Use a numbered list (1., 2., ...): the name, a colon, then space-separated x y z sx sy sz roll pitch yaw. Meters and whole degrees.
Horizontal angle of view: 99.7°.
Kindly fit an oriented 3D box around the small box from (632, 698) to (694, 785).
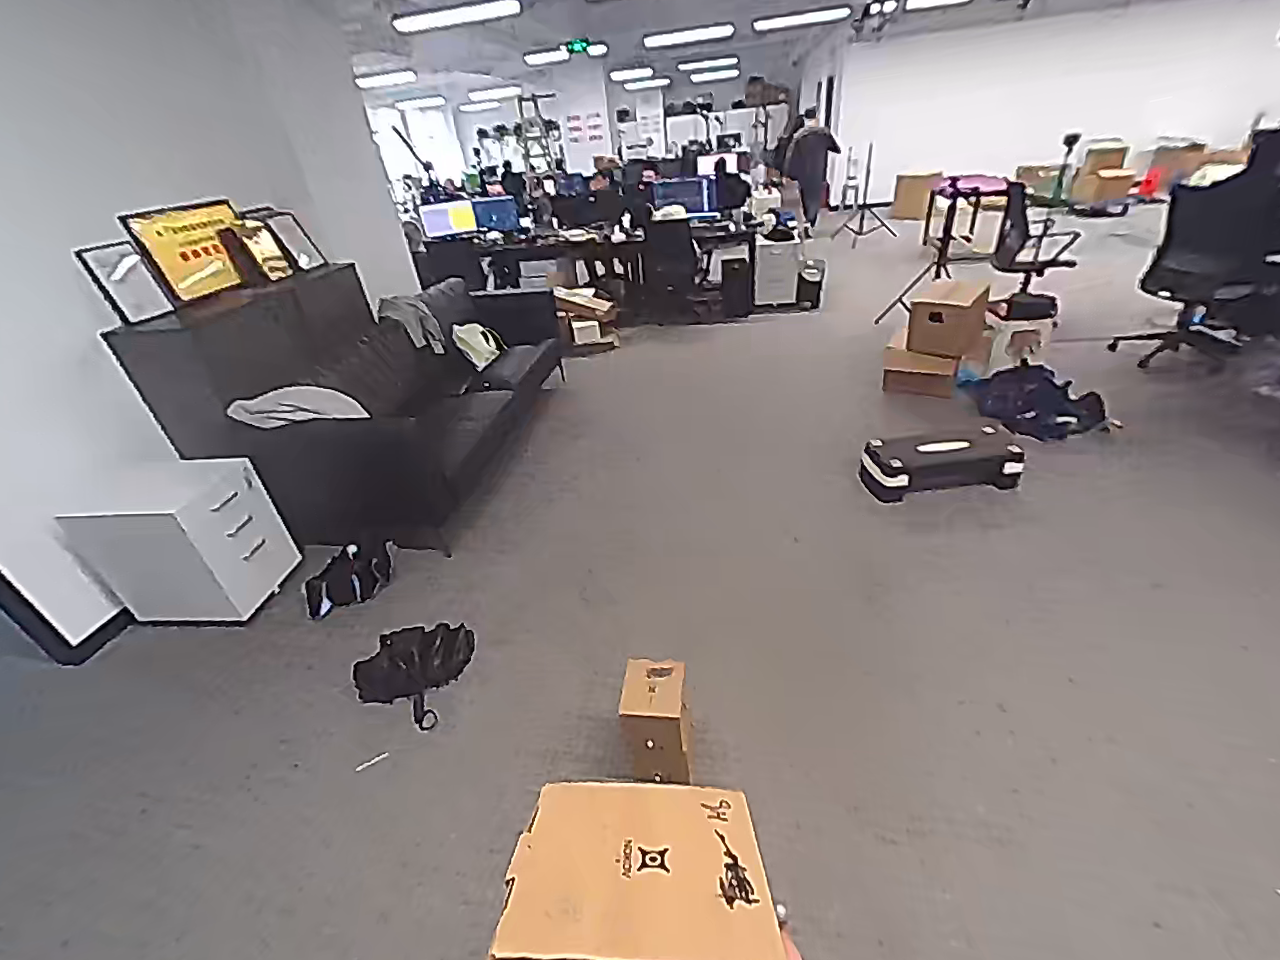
1. small box: 0.072 0.773 1.610 0.168 0.176 0.179 -2 34 9

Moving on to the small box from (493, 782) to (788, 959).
1. small box: 0.000 0.352 0.392 0.179 0.176 0.168 2 3 1

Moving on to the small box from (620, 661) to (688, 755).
1. small box: 0.045 0.638 1.520 0.168 0.176 0.179 -1 33 10
